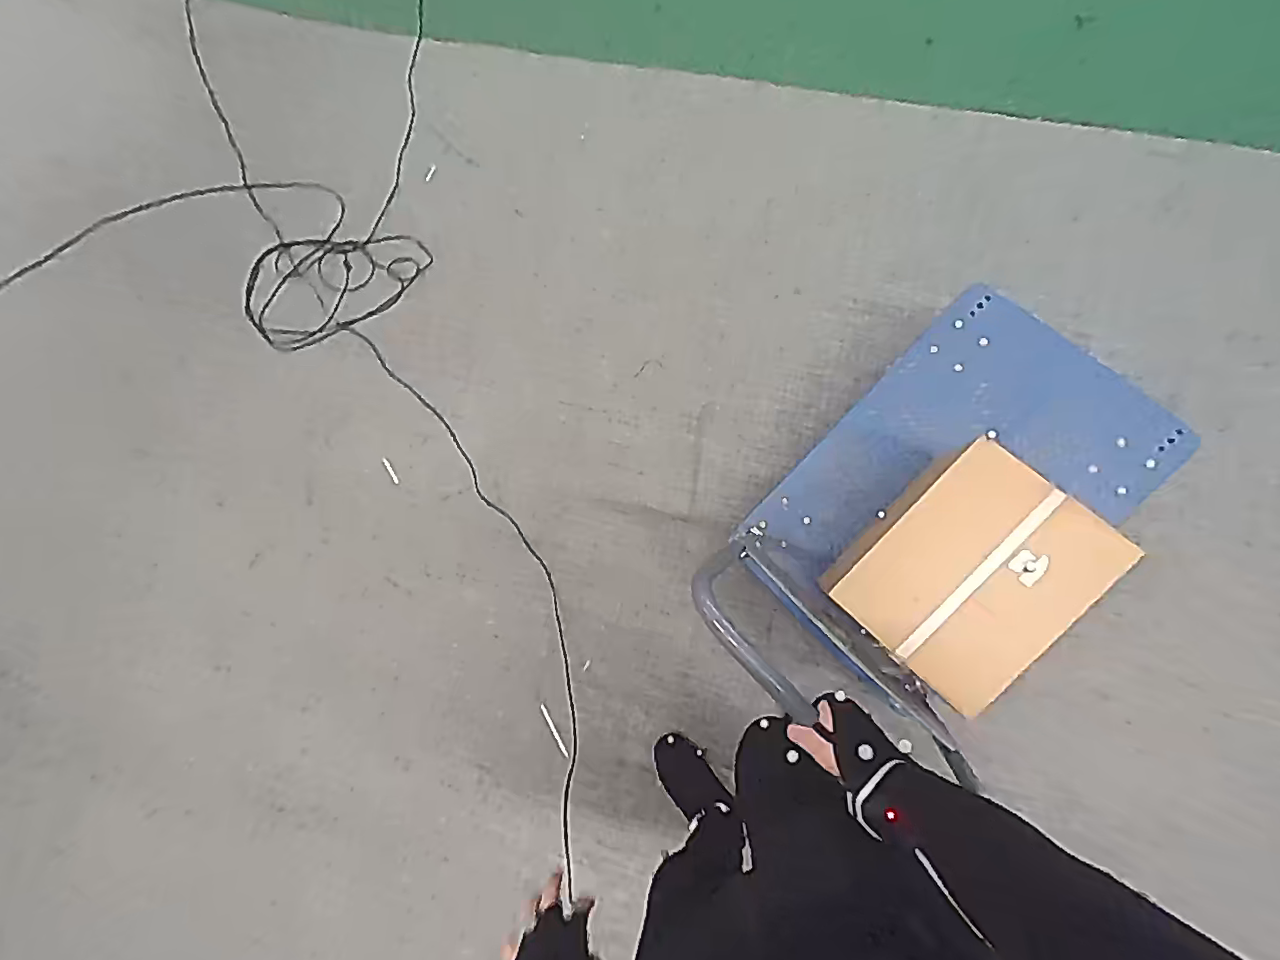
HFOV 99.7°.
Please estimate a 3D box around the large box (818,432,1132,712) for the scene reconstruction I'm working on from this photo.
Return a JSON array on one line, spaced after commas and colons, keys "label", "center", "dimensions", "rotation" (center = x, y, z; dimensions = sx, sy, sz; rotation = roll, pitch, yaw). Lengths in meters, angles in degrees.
[{"label": "large box", "center": [0.620, 0.176, 1.097], "dimensions": [0.320, 0.320, 0.408], "rotation": [44, 95, 14]}]
